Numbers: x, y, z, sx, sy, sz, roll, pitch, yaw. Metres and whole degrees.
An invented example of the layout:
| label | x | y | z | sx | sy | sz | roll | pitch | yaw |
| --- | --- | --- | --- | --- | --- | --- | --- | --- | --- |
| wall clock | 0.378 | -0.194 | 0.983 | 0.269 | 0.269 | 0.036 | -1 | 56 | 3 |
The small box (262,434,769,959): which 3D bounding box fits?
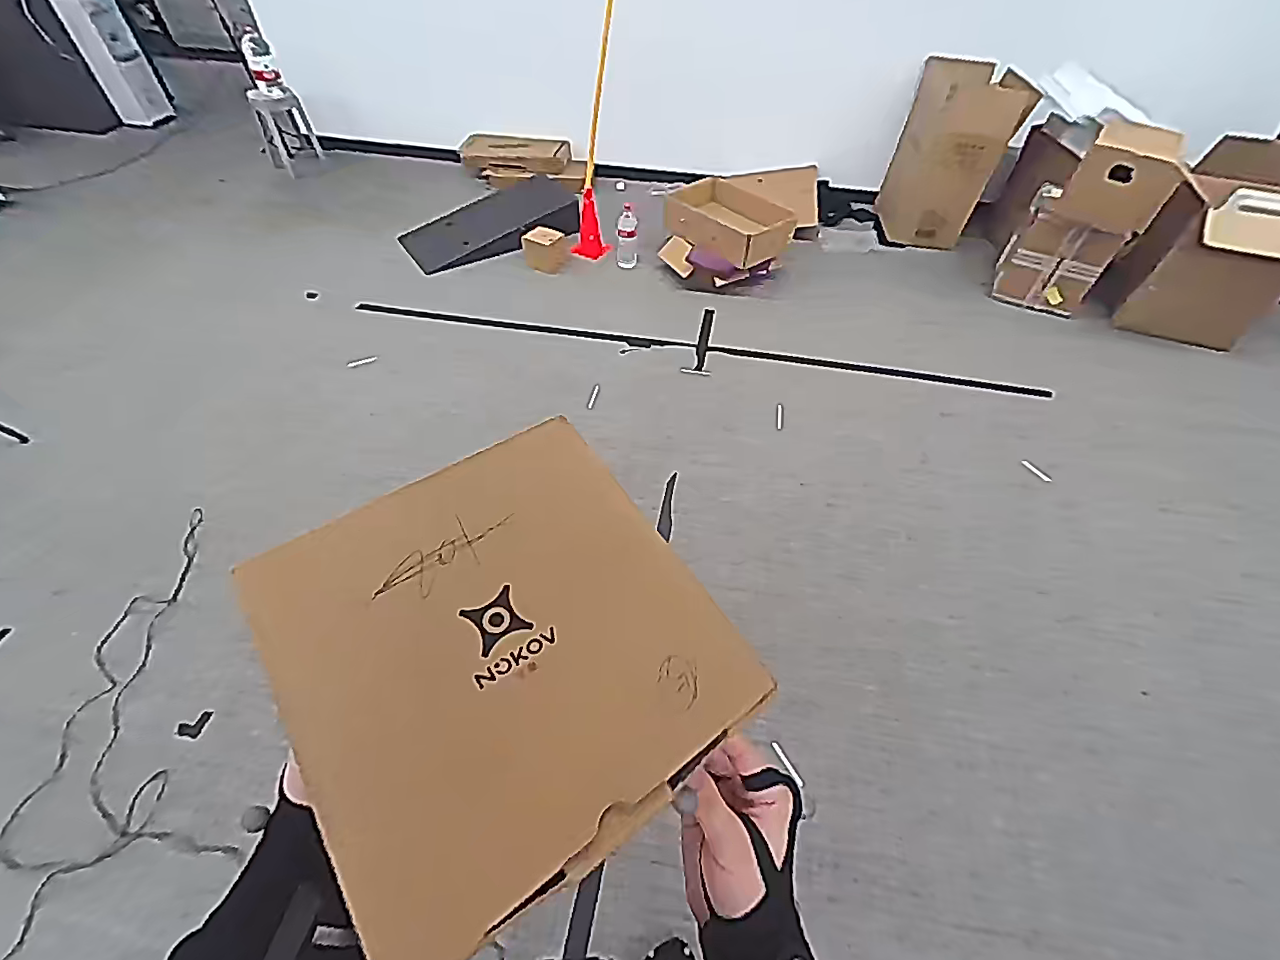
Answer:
| label | x | y | z | sx | sy | sz | roll | pitch | yaw |
| --- | --- | --- | --- | --- | --- | --- | --- | --- | --- |
| small box | -0.063 | 0.113 | 0.305 | 0.168 | 0.176 | 0.179 | -30 | 63 | -24 |
